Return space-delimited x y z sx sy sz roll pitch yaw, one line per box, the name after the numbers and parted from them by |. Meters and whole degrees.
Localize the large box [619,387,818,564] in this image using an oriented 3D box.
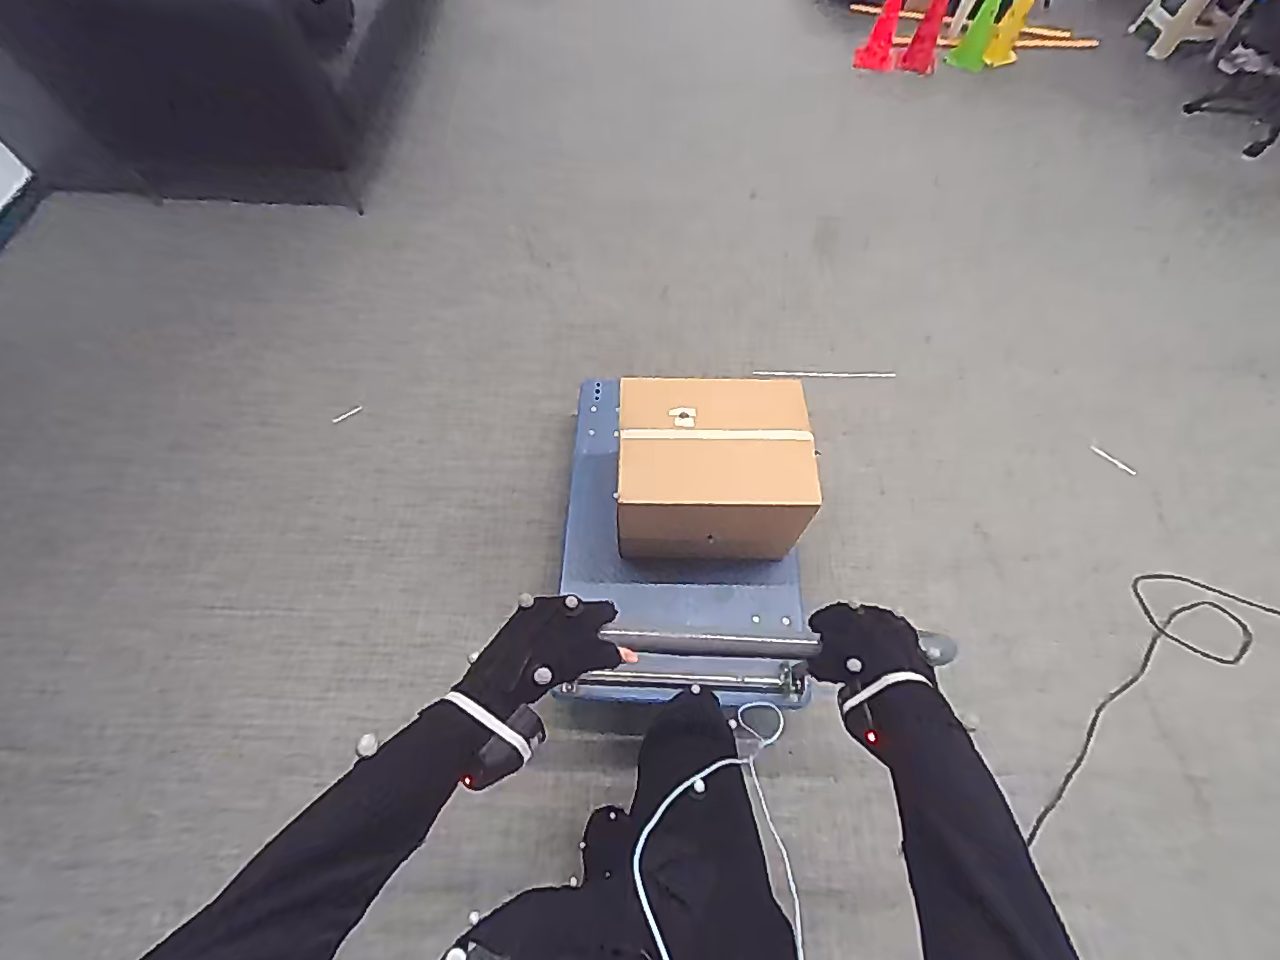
0.158 0.001 1.277 0.408 0.320 0.320 -1 61 0 | large box
